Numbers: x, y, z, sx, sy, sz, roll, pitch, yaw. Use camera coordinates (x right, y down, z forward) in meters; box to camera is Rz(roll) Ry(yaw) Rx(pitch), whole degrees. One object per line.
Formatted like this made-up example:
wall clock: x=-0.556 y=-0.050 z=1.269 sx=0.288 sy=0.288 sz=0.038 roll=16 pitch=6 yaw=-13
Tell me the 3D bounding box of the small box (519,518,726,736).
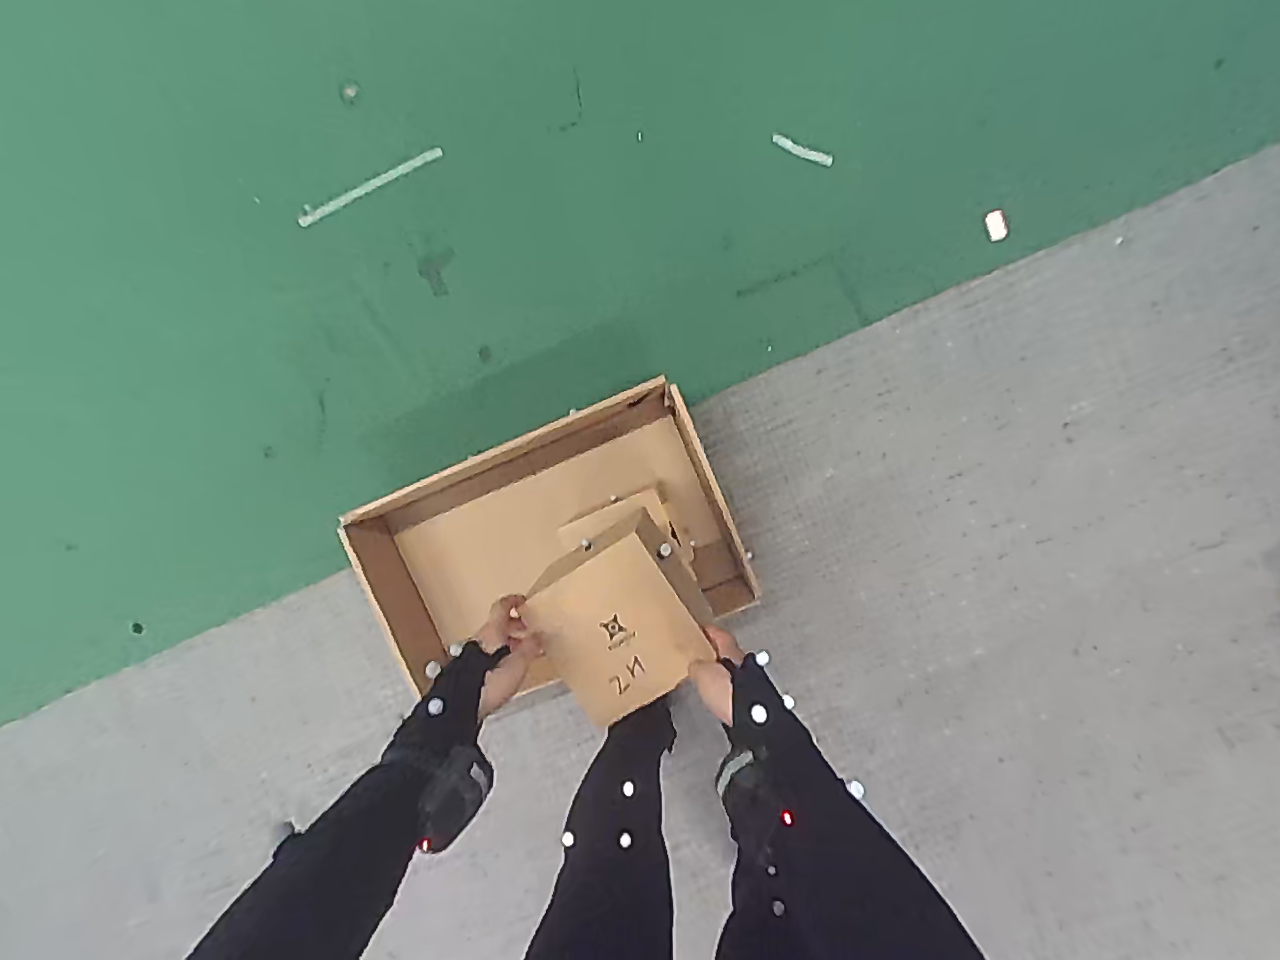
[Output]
small box: x=-0.017 y=0.162 z=0.665 sx=0.168 sy=0.176 sz=0.179 roll=-34 pitch=95 yaw=7
